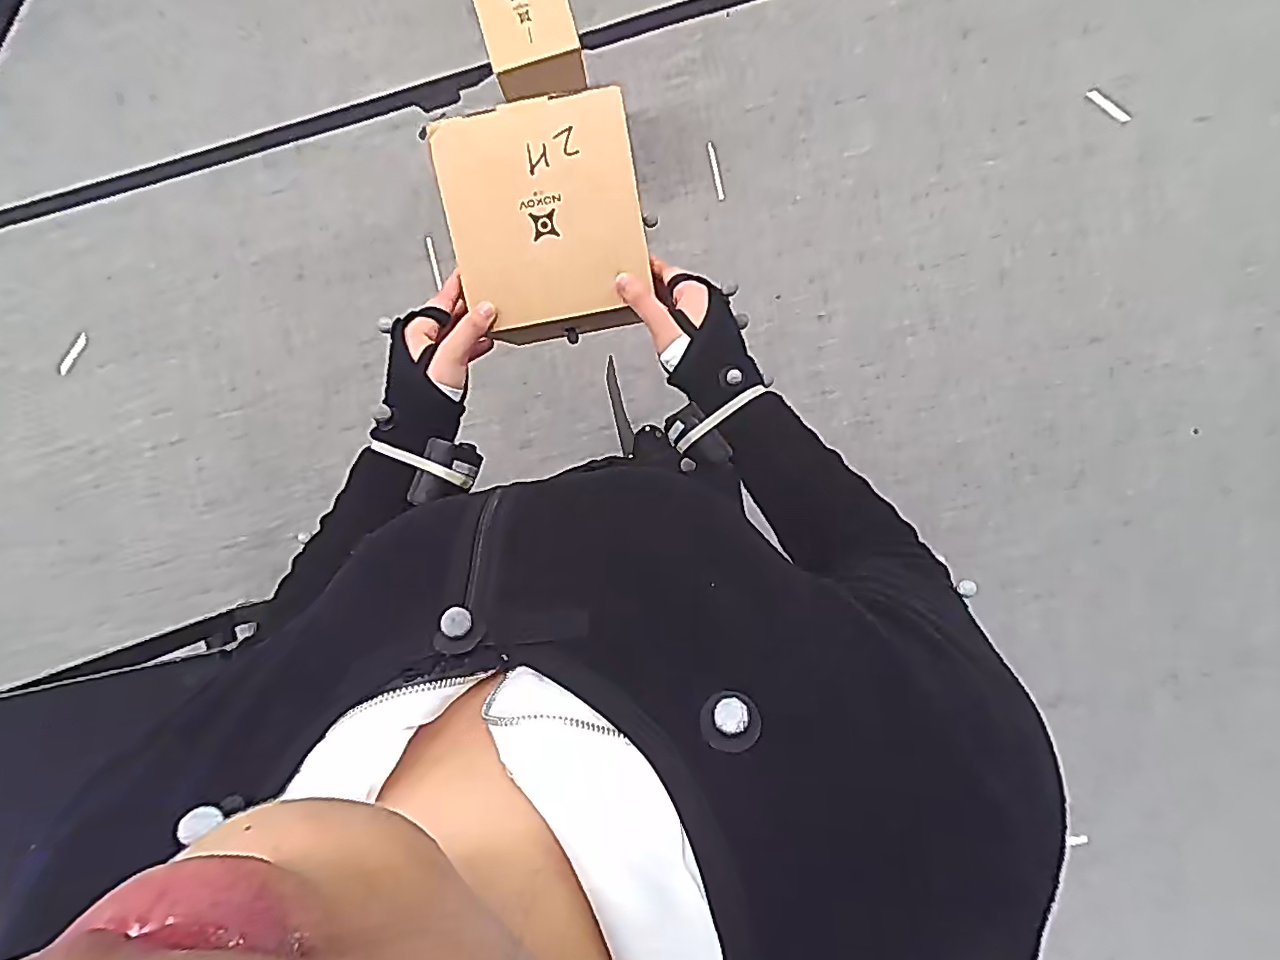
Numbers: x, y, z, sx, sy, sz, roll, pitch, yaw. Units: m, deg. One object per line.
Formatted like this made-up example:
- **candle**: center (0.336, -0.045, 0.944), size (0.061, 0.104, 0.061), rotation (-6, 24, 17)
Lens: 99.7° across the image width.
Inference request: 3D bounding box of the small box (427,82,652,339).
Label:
- **small box**: center (-0.081, -0.242, 0.538), size (0.168, 0.176, 0.179), rotation (-11, 100, 3)

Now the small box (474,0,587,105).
- **small box**: center (-0.205, -0.832, 1.054), size (0.168, 0.176, 0.179), rotation (-15, 92, 3)
